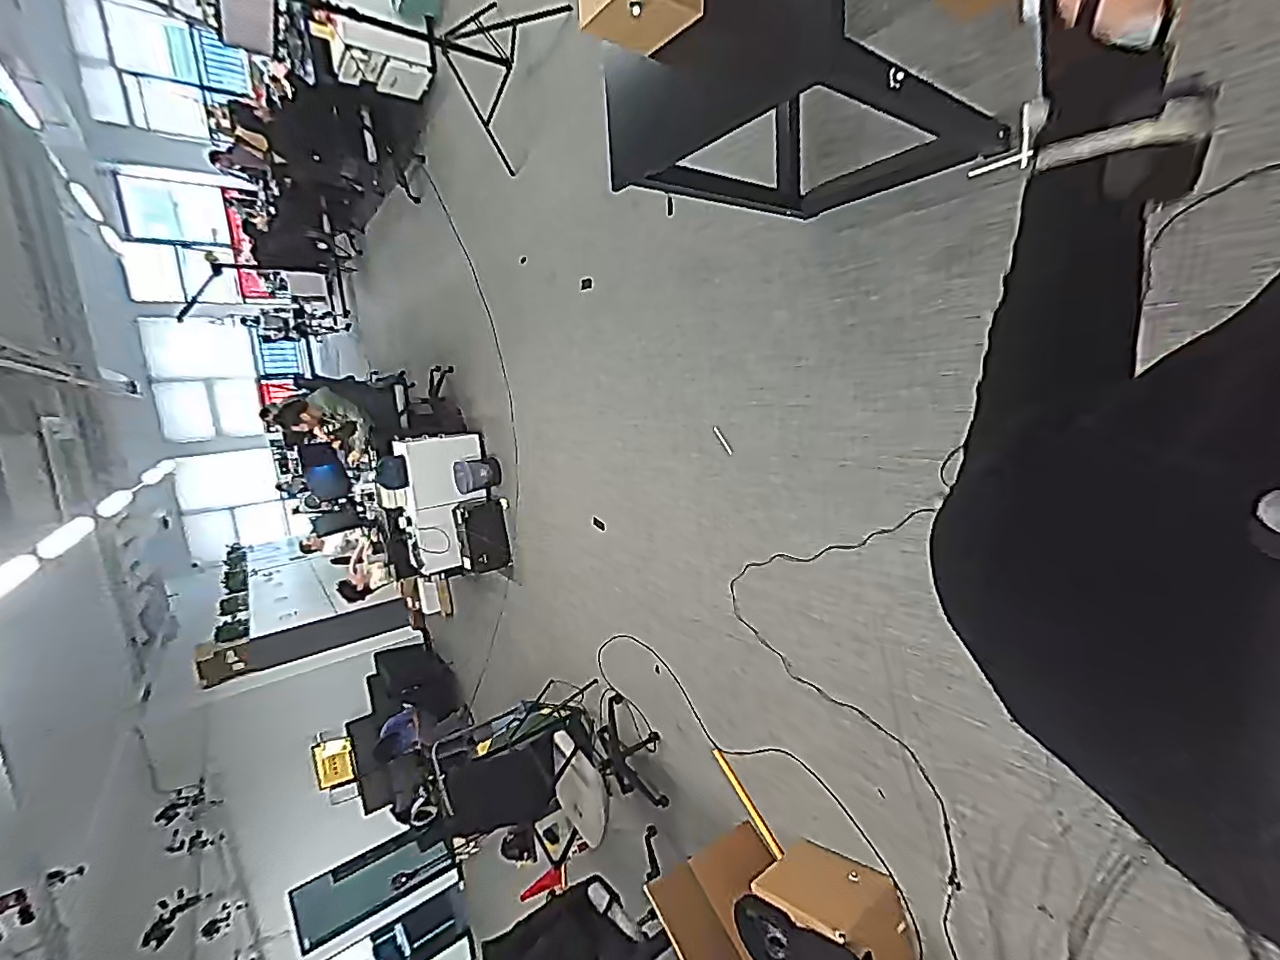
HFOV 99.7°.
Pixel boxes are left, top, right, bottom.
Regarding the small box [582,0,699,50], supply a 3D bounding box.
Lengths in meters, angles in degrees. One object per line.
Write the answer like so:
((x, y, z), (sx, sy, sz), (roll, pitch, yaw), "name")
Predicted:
((0.004, -0.949, 1.004), (0.179, 0.176, 0.168), (15, 111, 52), "small box")
